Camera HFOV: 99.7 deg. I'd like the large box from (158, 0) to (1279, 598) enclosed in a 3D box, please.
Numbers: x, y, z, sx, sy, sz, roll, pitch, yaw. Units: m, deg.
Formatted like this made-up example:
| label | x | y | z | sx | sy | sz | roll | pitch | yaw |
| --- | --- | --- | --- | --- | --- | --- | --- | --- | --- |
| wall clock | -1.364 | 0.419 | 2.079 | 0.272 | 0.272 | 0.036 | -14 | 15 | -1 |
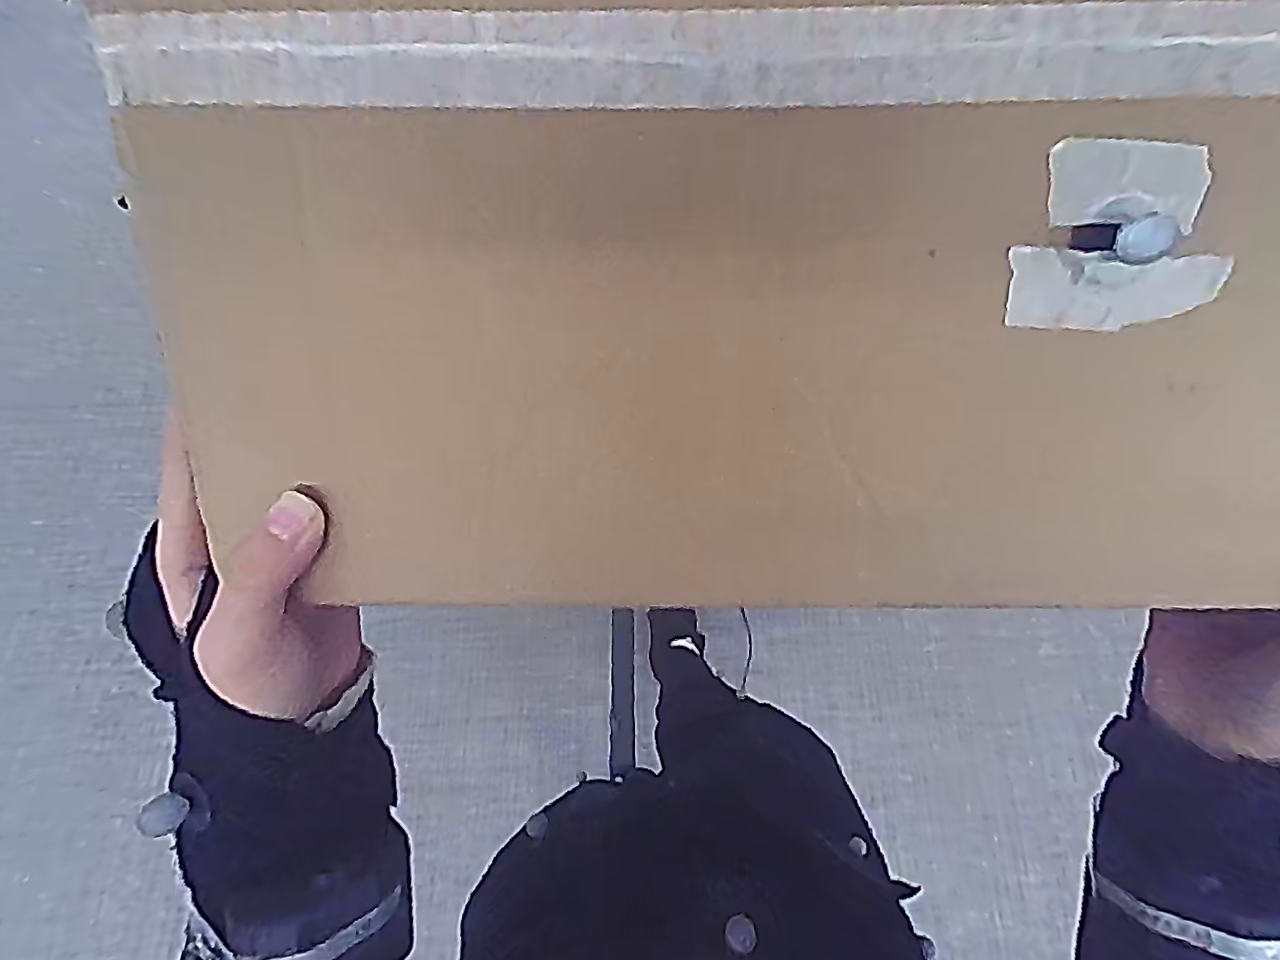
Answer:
| label | x | y | z | sx | sy | sz | roll | pitch | yaw |
| --- | --- | --- | --- | --- | --- | --- | --- | --- | --- |
| large box | 0.061 | -0.146 | 0.301 | 0.408 | 0.320 | 0.320 | -1 | 104 | 0 |
